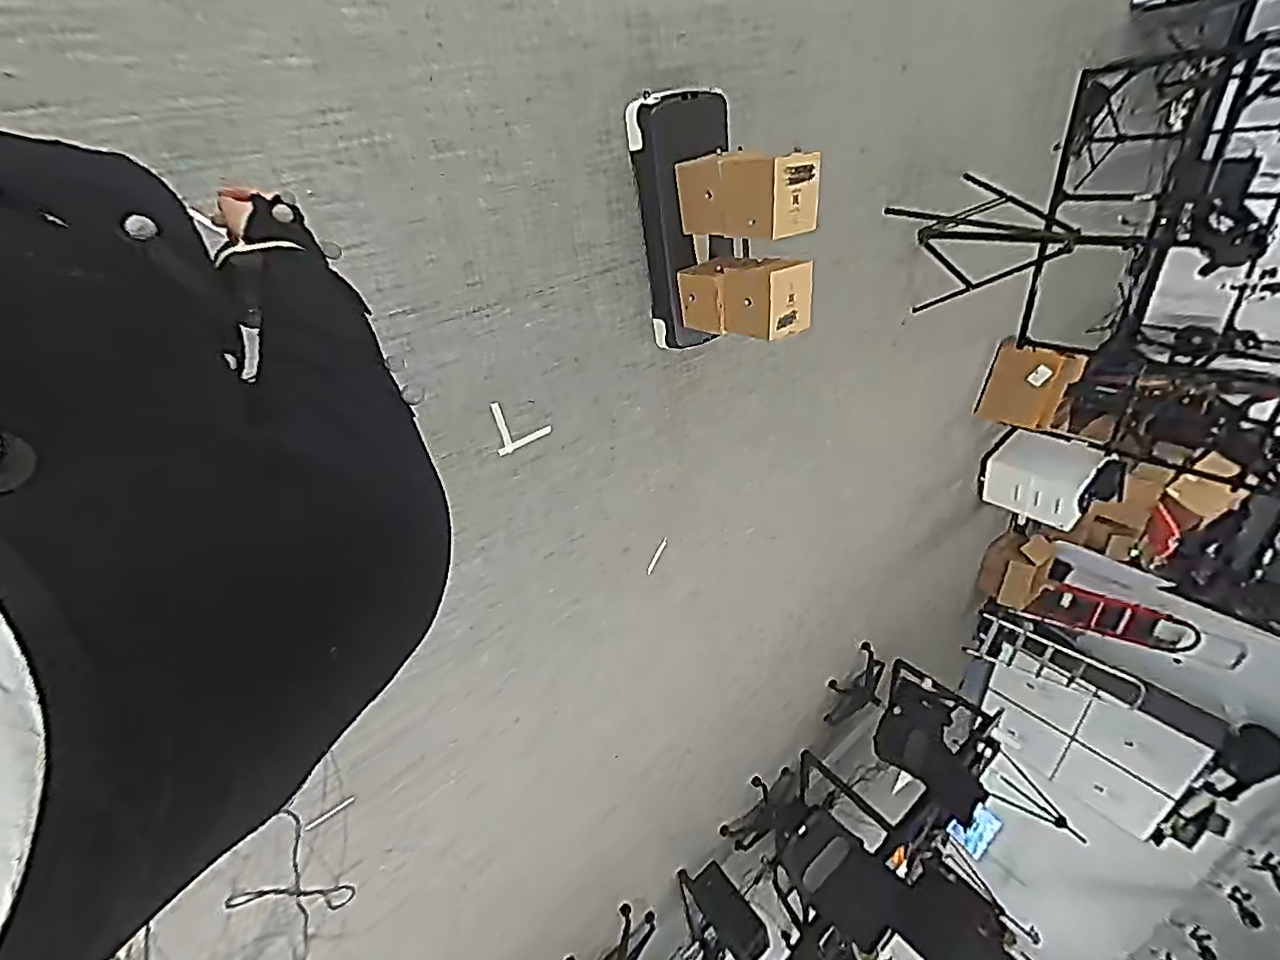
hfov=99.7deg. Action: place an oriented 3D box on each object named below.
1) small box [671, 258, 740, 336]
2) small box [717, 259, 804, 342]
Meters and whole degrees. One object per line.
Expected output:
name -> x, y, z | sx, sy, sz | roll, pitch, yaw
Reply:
small box -> 0.216, -0.546, 1.596 | 0.179, 0.176, 0.168 | -30, 128, -25
small box -> 0.326, -0.497, 1.483 | 0.168, 0.176, 0.179 | -26, 126, -29
